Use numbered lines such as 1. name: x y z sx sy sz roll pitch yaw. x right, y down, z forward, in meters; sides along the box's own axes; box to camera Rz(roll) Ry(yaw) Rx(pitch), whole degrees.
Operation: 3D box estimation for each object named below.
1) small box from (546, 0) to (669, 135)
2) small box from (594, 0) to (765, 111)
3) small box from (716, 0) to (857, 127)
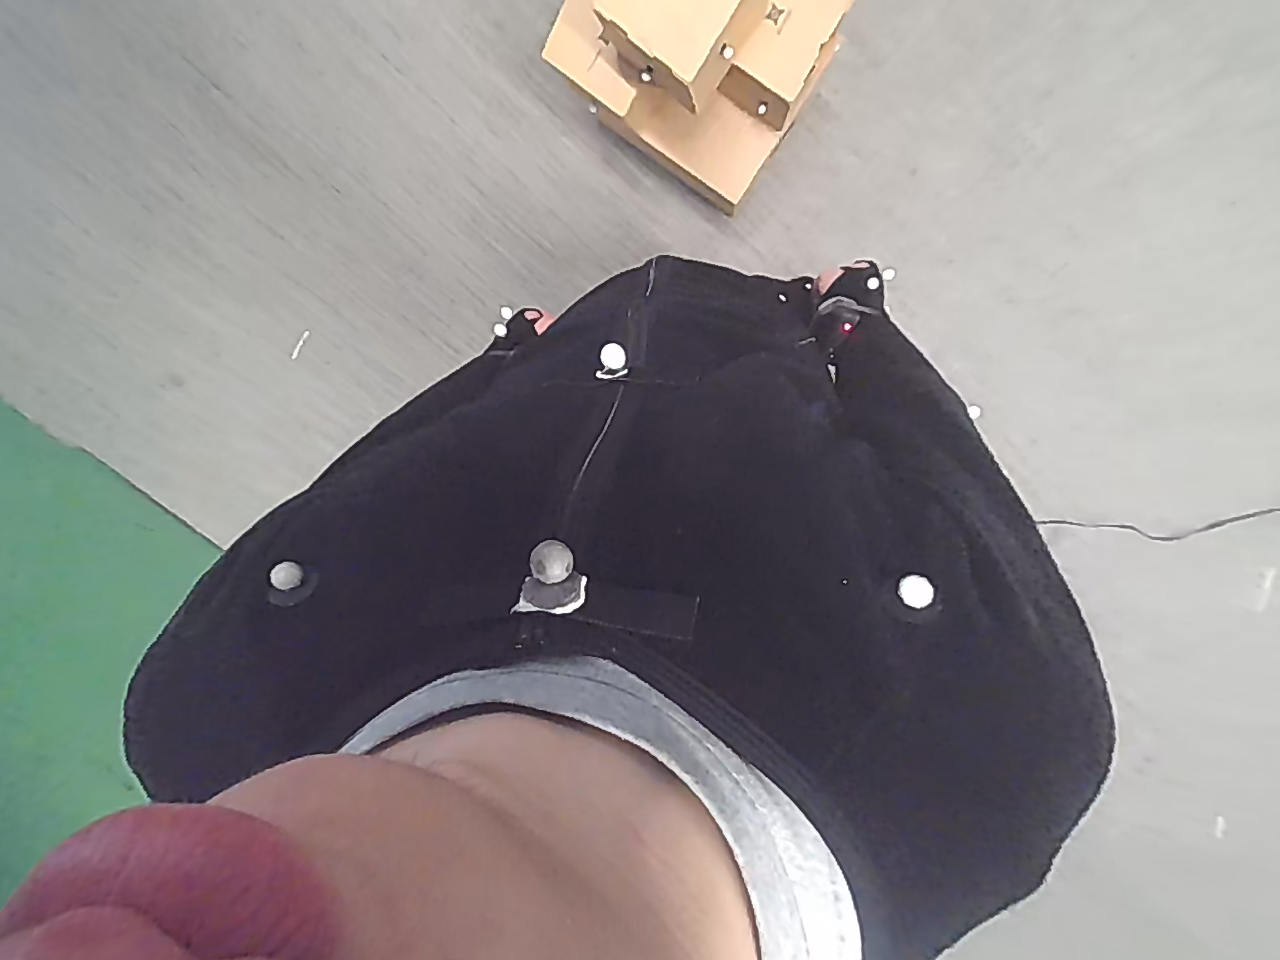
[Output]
1. small box: -0.029 -0.734 0.924 0.168 0.176 0.179 36 115 -5
2. small box: 0.066 -0.662 0.755 0.168 0.176 0.179 37 114 -5
3. small box: 0.219 -0.718 0.889 0.179 0.176 0.168 32 110 -2
